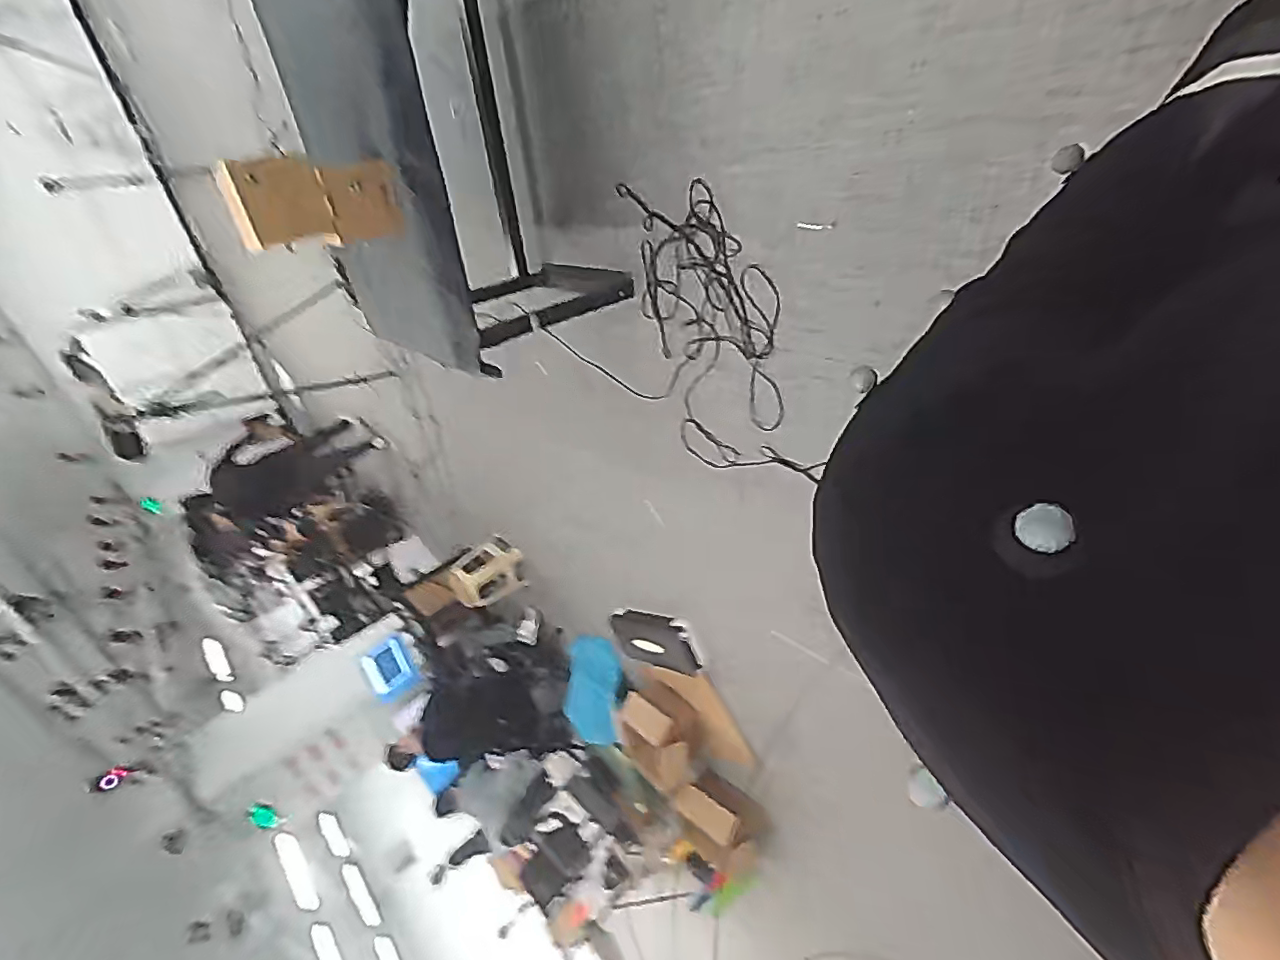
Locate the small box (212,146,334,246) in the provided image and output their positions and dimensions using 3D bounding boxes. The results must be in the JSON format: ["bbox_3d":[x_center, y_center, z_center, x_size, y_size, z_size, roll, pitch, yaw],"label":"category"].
[{"bbox_3d":[-0.837,-0.650,1.243,0.168,0.176,0.179,19,129,44],"label":"small box"}]

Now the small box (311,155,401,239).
[{"bbox_3d":[-0.718,-0.704,1.340,0.179,0.176,0.168,27,134,39],"label":"small box"}]
